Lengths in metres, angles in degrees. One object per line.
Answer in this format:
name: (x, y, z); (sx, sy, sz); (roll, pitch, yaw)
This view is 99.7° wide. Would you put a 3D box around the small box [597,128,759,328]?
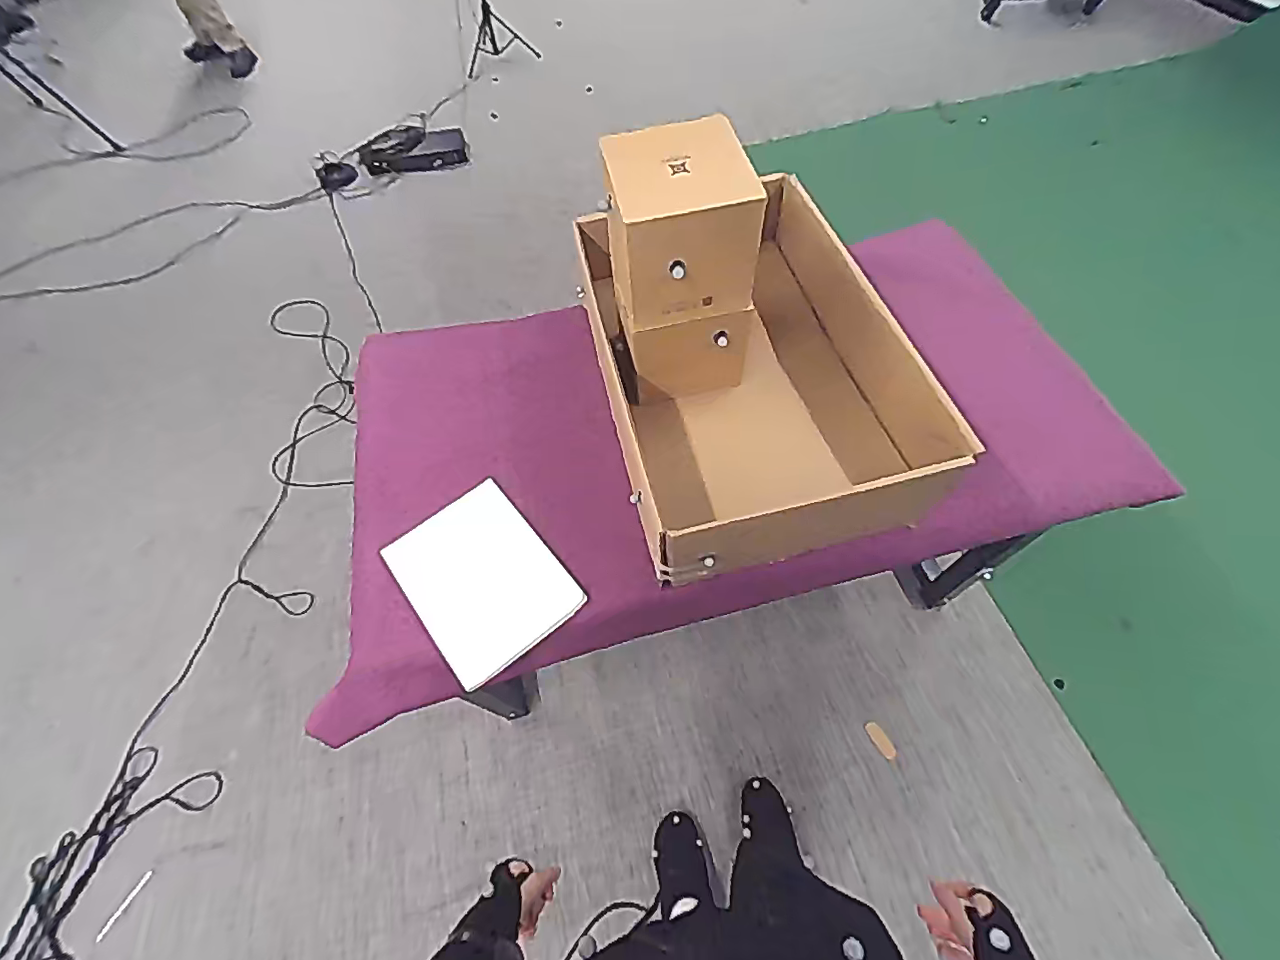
small box: (0.047, -0.321, 0.715); (0.168, 0.176, 0.179); (-12, 60, -3)
